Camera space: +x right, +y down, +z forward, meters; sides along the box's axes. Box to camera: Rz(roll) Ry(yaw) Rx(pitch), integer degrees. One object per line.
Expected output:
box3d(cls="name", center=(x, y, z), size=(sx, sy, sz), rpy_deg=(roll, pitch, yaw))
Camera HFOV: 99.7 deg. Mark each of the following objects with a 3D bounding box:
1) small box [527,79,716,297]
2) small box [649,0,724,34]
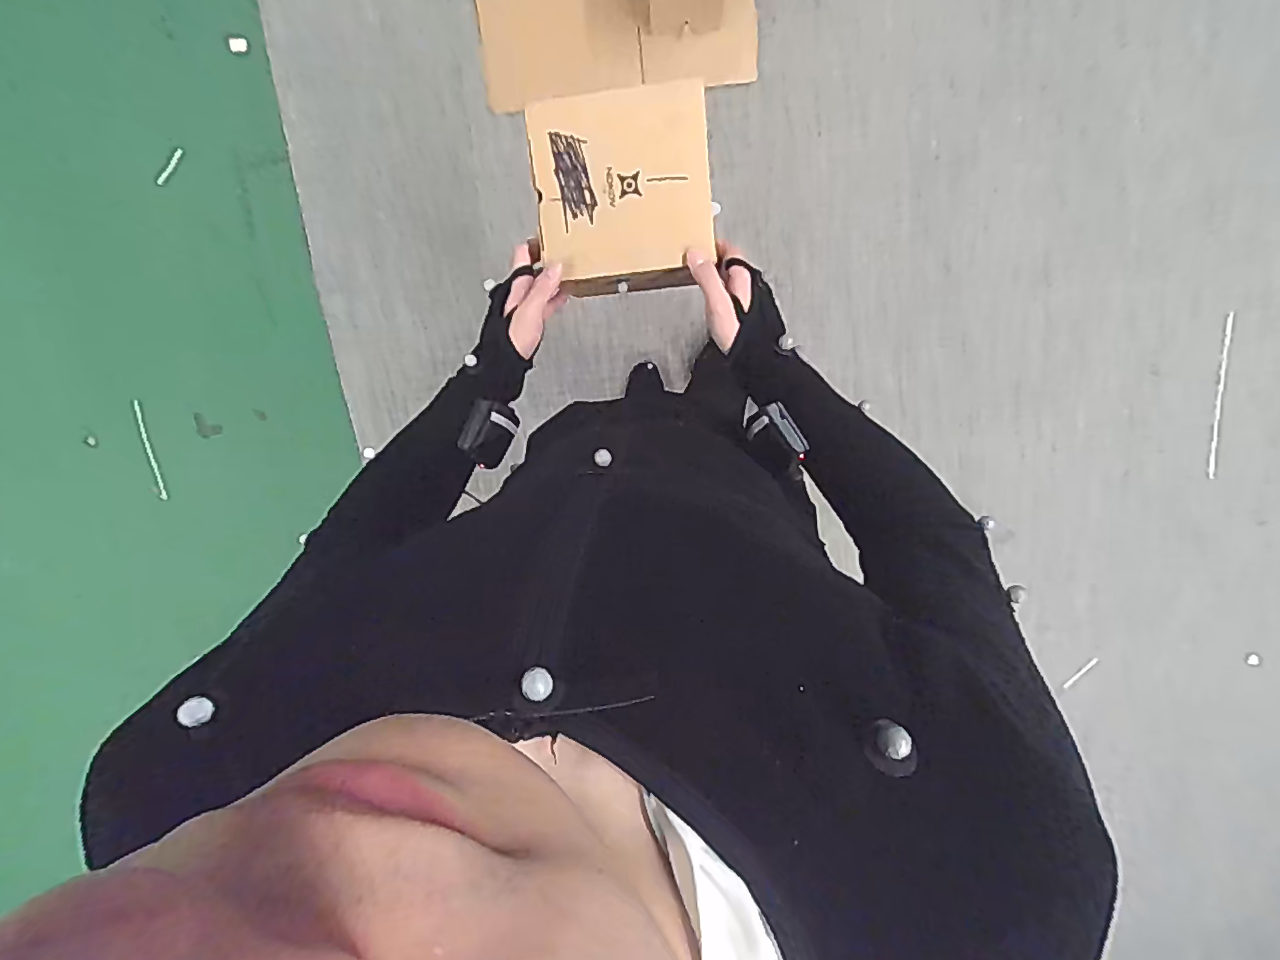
box3d(cls="small box", center=(-0.010, -0.306, 0.606), size=(0.179, 0.176, 0.168), rpy_deg=(-5, 103, 5))
box3d(cls="small box", center=(0.107, -1.177, 1.254), size=(0.179, 0.176, 0.168), rpy_deg=(-2, 103, 3))
